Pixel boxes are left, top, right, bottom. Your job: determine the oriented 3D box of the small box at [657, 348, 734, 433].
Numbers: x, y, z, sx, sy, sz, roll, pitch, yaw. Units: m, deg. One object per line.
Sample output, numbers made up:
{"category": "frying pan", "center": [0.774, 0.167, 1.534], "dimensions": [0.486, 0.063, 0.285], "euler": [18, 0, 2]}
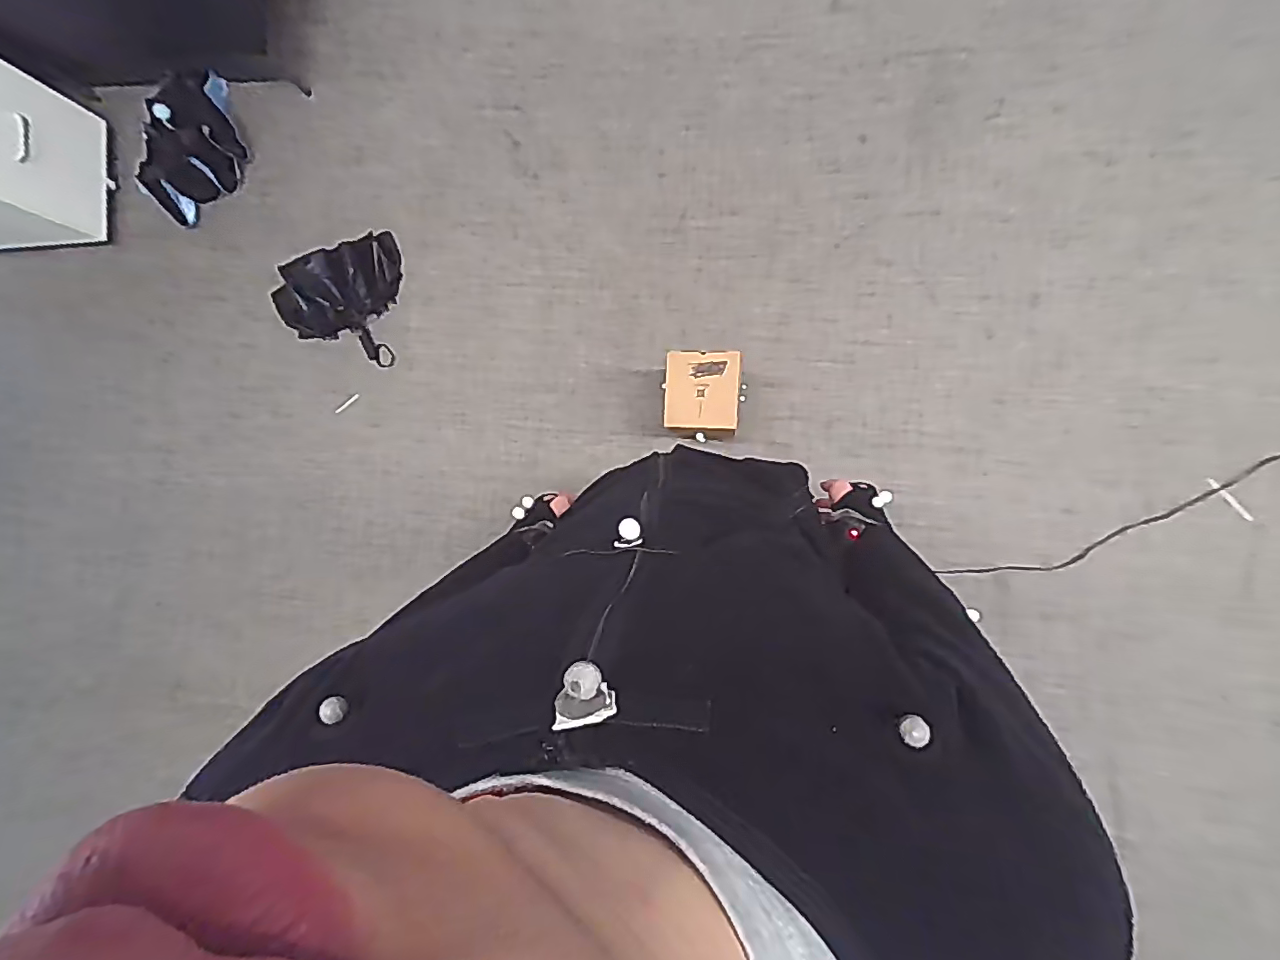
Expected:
{"category": "small box", "center": [0.136, -0.212, 1.303], "dimensions": [0.168, 0.176, 0.179], "euler": [3, 92, 9]}
